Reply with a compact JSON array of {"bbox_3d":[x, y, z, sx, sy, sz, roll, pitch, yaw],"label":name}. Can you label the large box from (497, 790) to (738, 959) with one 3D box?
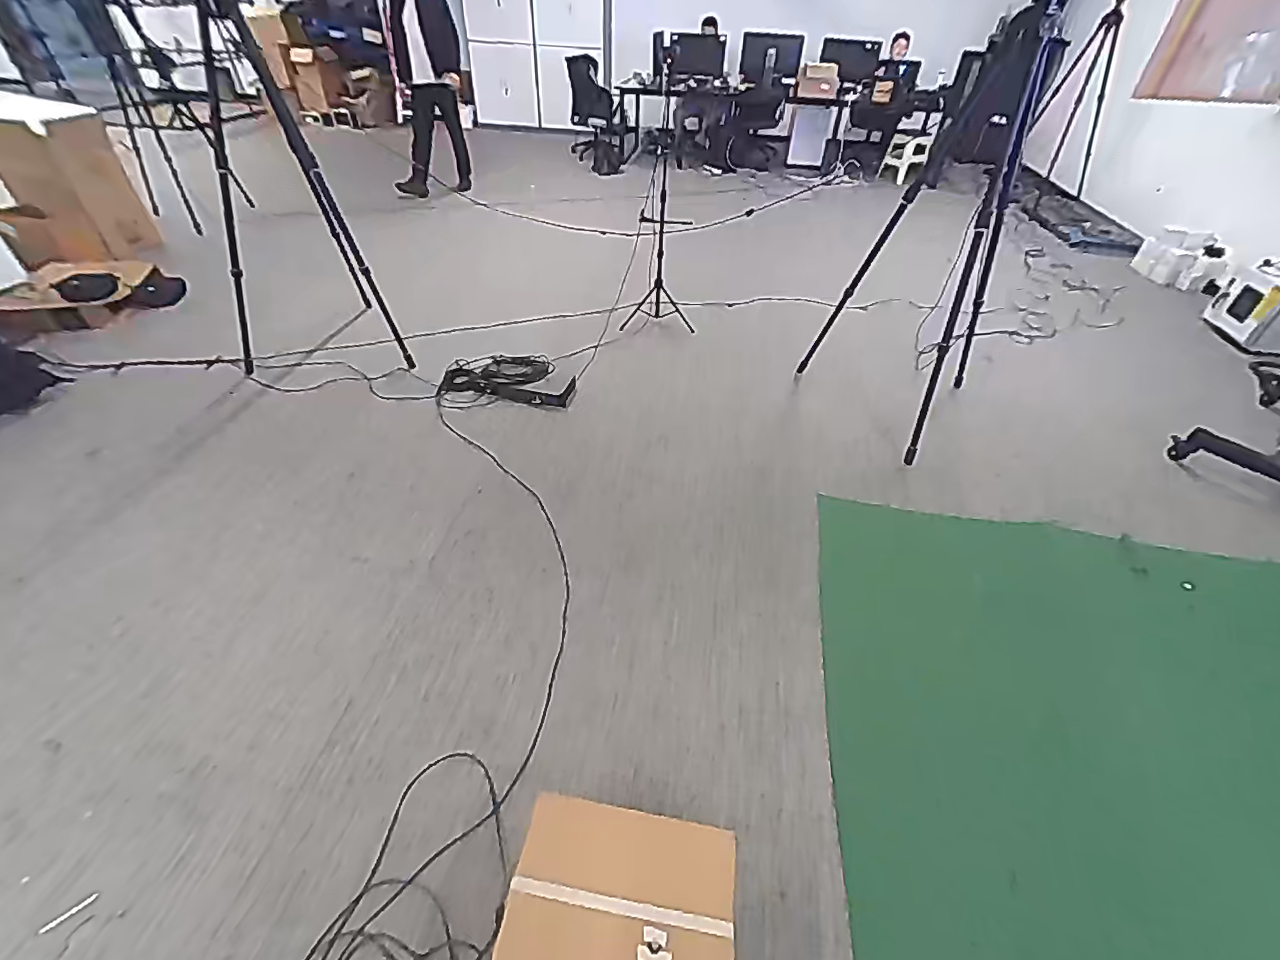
[{"bbox_3d":[-0.035,0.867,1.068,0.408,0.320,0.320,9,42,5],"label":"large box"}]
